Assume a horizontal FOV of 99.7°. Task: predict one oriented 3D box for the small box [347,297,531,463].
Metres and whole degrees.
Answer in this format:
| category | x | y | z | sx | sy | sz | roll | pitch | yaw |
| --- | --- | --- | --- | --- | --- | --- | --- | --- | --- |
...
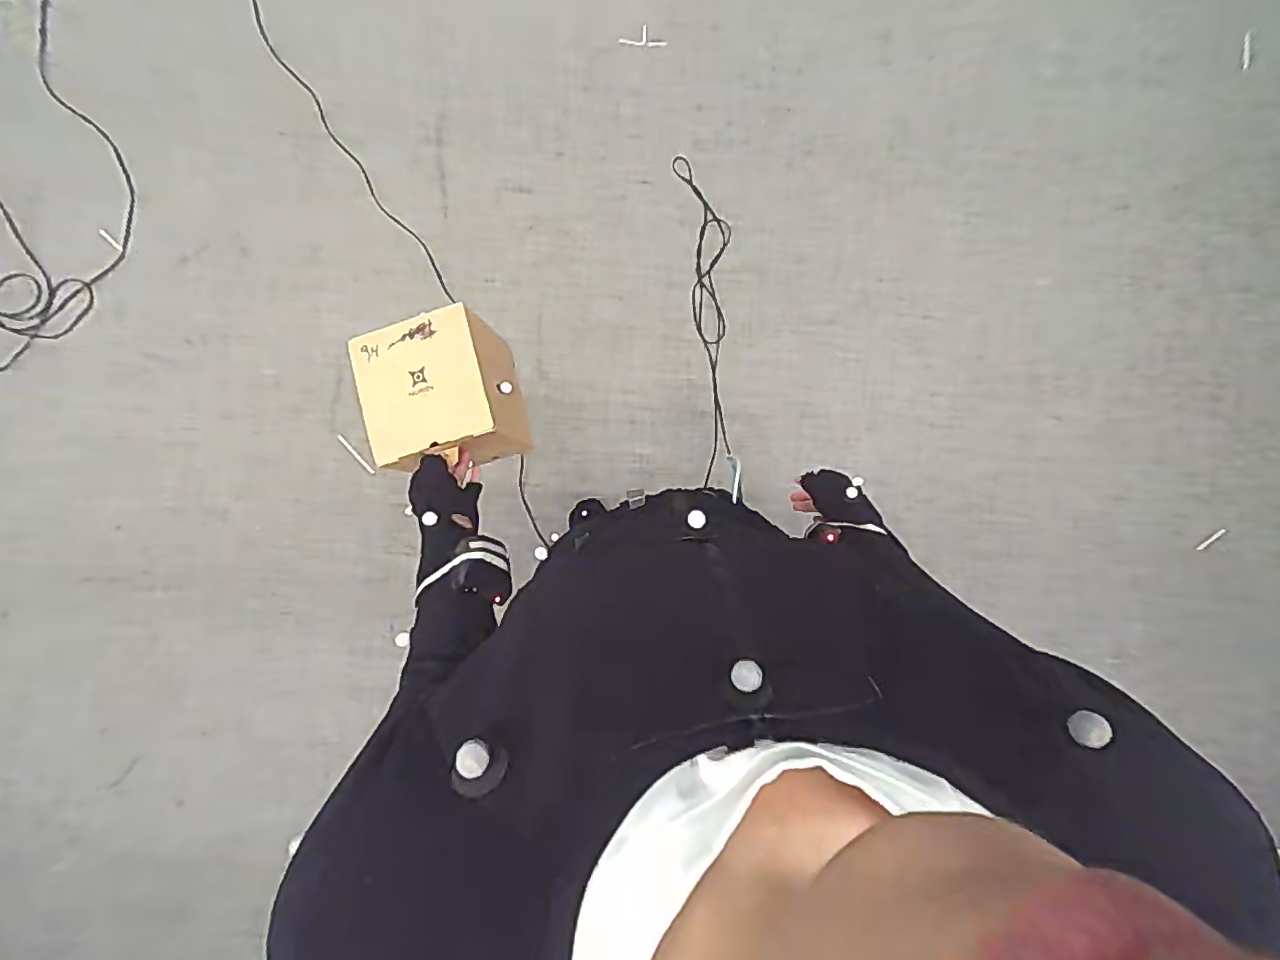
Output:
| category | x | y | z | sx | sy | sz | roll | pitch | yaw |
| --- | --- | --- | --- | --- | --- | --- | --- | --- | --- |
| small box | -0.270 | -0.126 | 0.763 | 0.168 | 0.176 | 0.179 | -16 | 86 | 6 |
